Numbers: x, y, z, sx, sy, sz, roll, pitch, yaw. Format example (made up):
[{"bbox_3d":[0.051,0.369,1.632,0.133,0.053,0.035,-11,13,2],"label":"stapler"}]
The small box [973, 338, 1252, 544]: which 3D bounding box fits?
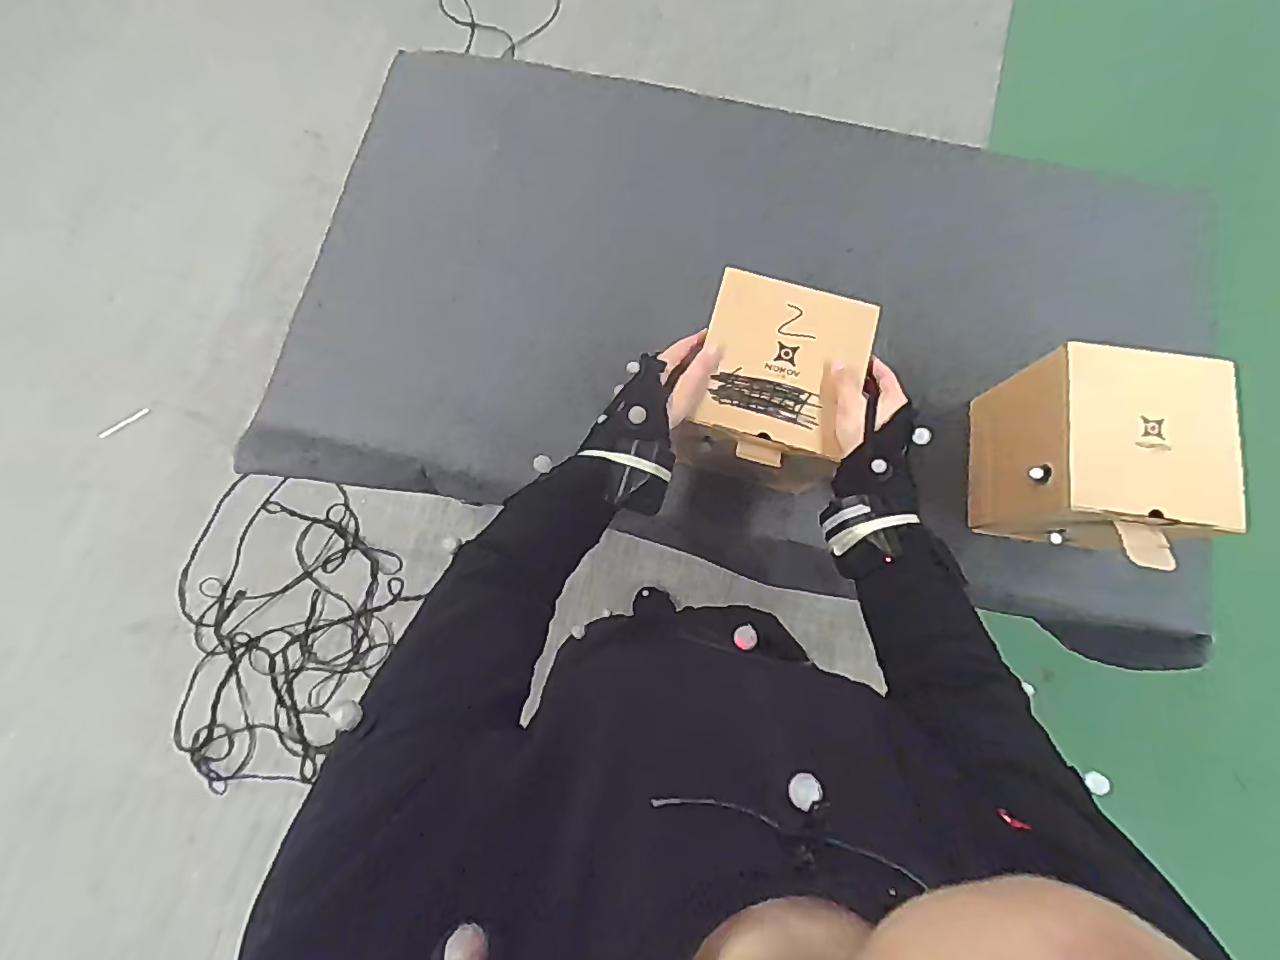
[{"bbox_3d":[0.499,-0.032,0.600,0.168,0.176,0.179,8,79,2],"label":"small box"}]
